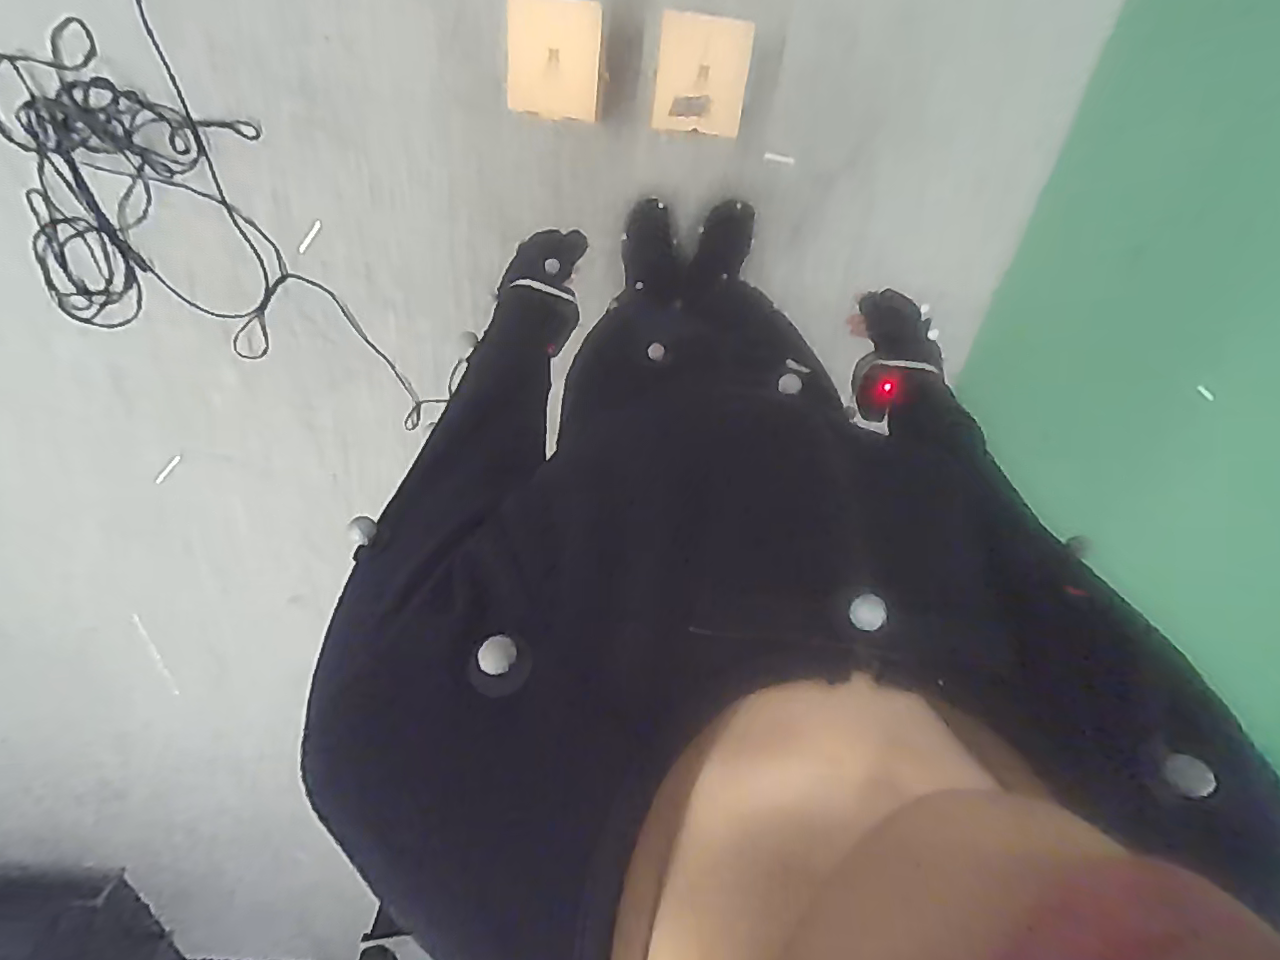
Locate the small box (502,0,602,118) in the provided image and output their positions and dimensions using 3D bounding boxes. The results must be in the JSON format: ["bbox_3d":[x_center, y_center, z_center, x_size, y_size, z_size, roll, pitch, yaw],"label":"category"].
[{"bbox_3d":[-0.164,-0.810,1.030,0.168,0.176,0.179,6,121,-3],"label":"small box"}]

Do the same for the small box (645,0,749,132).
[{"bbox_3d":[0.101,-0.785,1.044,0.168,0.176,0.179,6,121,-3],"label":"small box"}]
